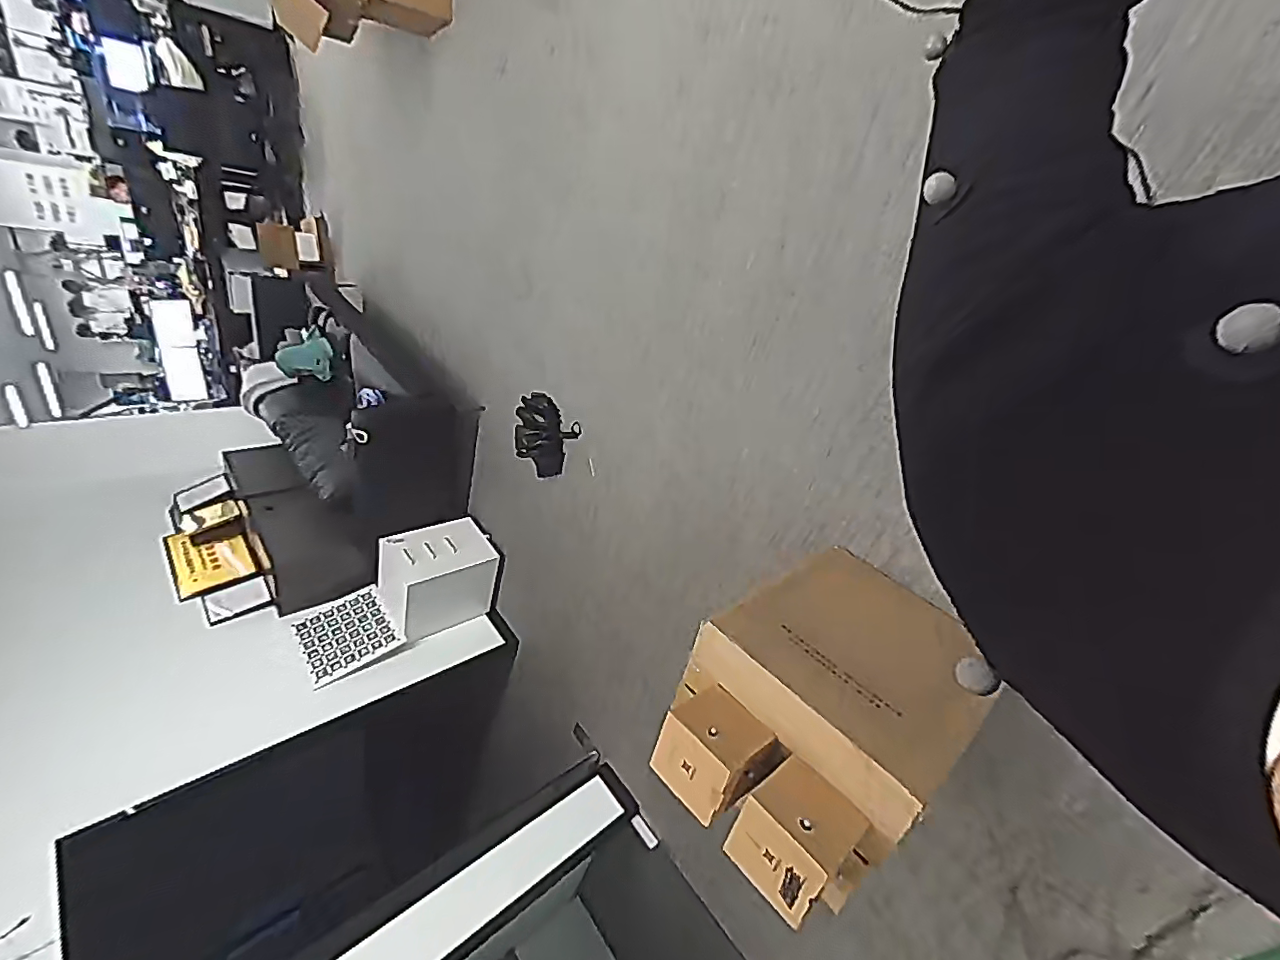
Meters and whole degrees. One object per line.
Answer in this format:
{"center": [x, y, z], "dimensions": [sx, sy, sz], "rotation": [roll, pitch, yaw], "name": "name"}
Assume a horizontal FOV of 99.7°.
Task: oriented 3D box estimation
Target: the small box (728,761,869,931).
{"center": [0.305, 0.684, 1.035], "dimensions": [0.179, 0.176, 0.168], "rotation": [34, 119, 37], "name": "small box"}

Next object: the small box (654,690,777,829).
{"center": [0.164, 0.588, 1.164], "dimensions": [0.179, 0.176, 0.168], "rotation": [33, 118, 39], "name": "small box"}
